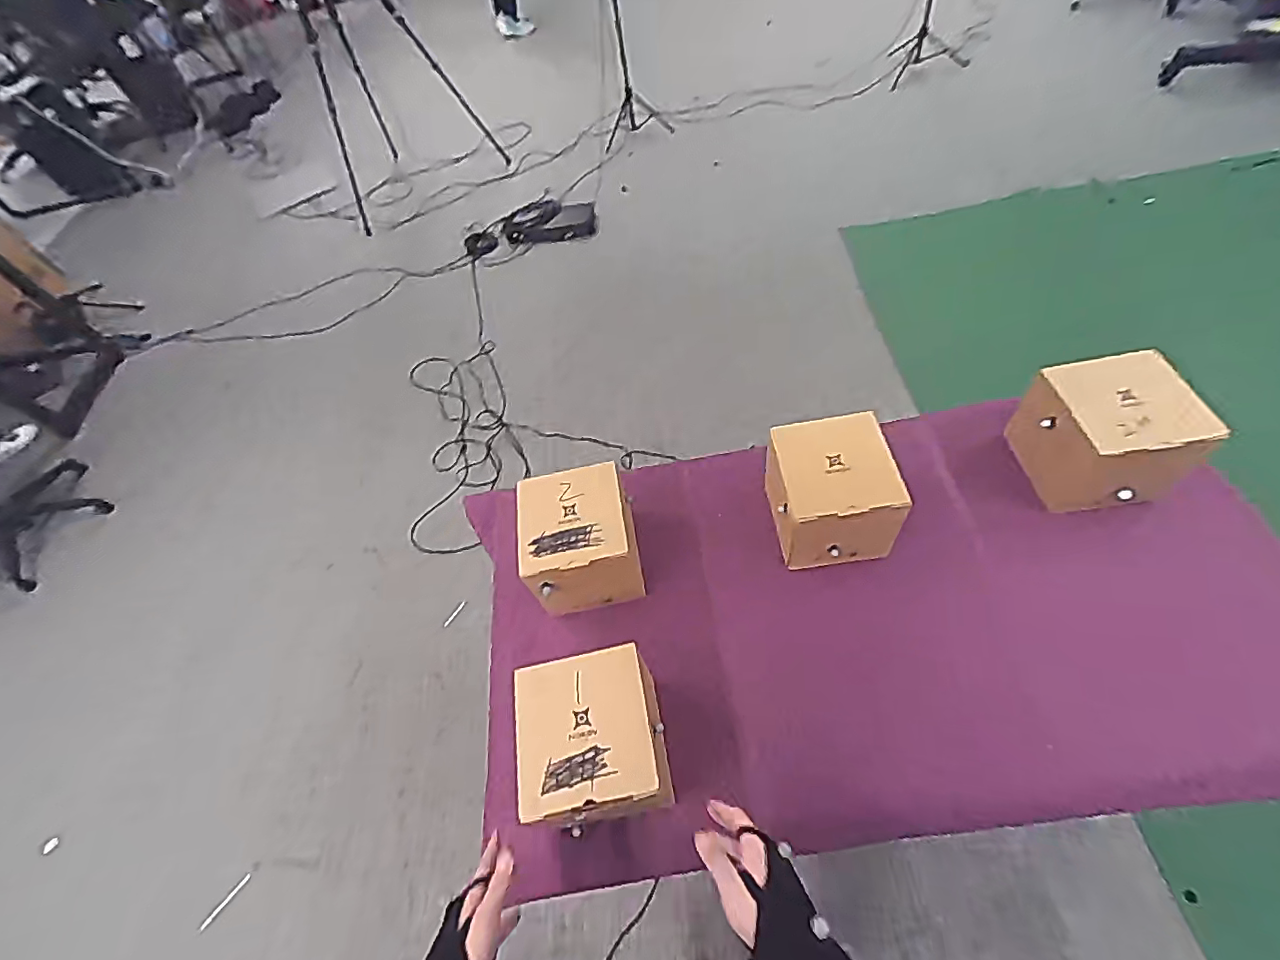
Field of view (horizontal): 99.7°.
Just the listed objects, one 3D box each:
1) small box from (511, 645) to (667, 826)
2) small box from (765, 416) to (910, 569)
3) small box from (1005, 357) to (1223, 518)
[{"bbox_3d":[-0.063,0.344,0.715,0.168,0.176,0.179,-12,53,1],"label":"small box"},{"bbox_3d":[0.303,0.024,0.875,0.168,0.176,0.179,-8,56,4],"label":"small box"},{"bbox_3d":[0.723,-0.063,0.856,0.168,0.176,0.179,-9,56,7],"label":"small box"}]
